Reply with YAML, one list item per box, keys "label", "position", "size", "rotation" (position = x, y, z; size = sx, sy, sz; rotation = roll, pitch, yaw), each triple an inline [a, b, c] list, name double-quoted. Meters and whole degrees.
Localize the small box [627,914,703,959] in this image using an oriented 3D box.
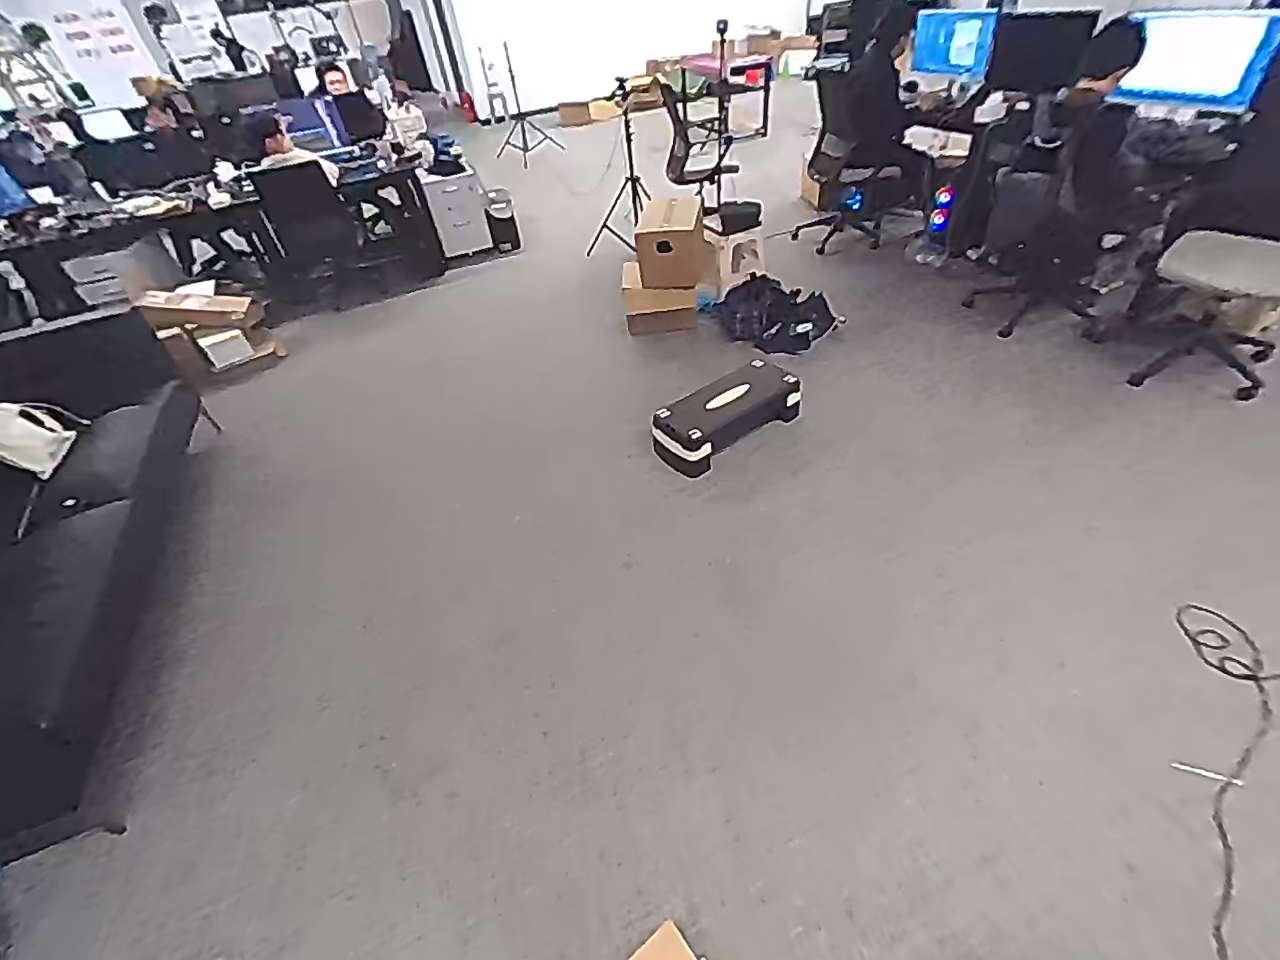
- label: "small box"
  position: [0.066, 1.028, 1.080]
  size: [0.168, 0.176, 0.179]
  rotation: [-31, 46, -23]
